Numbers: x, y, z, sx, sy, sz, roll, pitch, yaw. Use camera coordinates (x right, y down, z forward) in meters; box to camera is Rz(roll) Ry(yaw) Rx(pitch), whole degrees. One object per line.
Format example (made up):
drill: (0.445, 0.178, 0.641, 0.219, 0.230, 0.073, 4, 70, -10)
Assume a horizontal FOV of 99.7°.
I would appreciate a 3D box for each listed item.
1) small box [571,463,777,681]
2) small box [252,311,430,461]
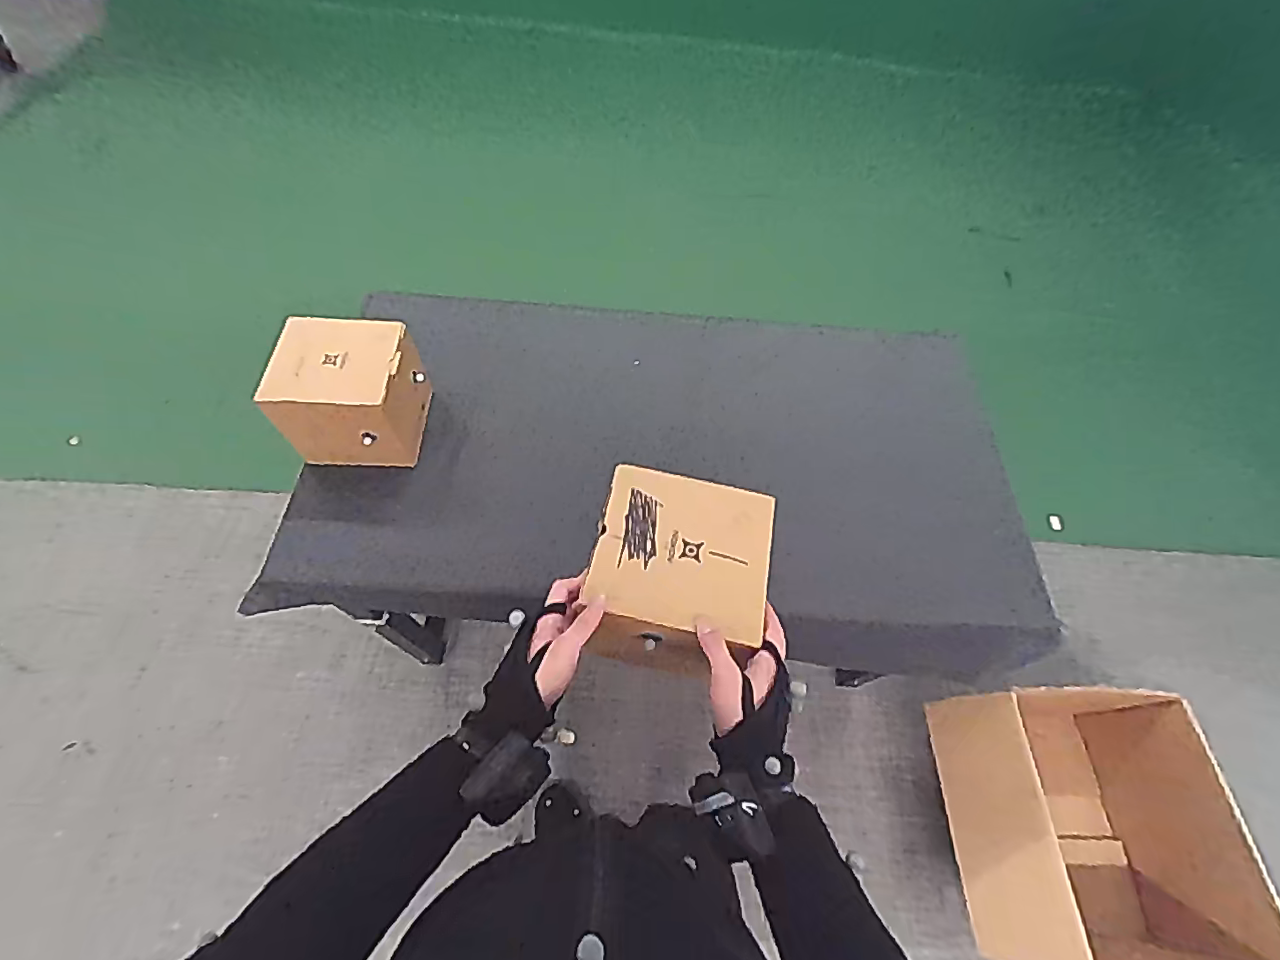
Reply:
small box: (0.036, 0.110, 0.604, 0.179, 0.176, 0.168, 15, 60, 6)
small box: (-0.448, -0.141, 0.848, 0.179, 0.176, 0.168, 1, 59, -3)
